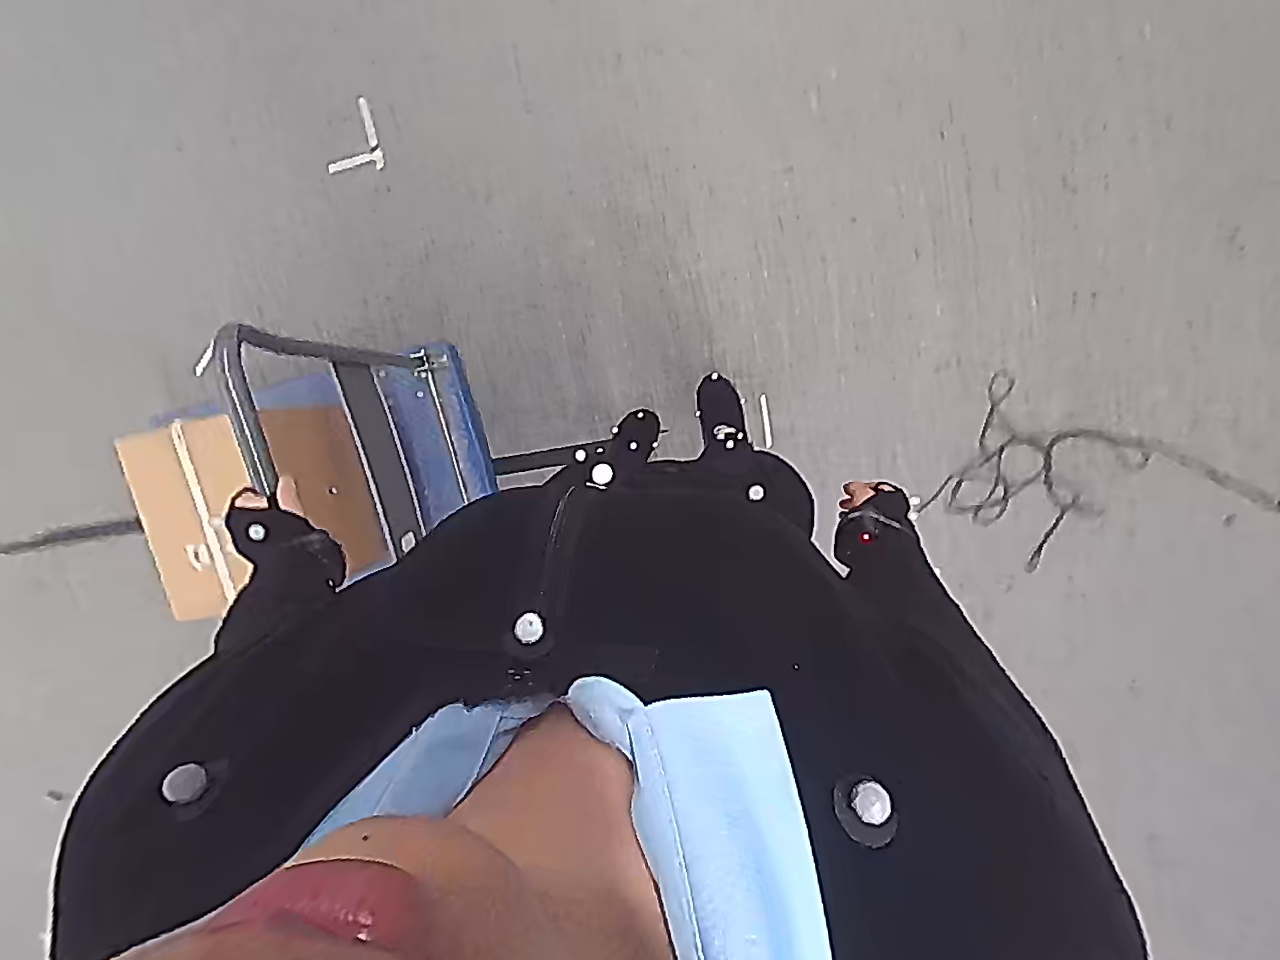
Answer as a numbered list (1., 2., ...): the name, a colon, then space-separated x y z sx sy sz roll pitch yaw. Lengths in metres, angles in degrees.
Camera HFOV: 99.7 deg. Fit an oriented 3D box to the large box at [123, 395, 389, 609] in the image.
1. large box: -0.855 0.032 1.262 0.320 0.320 0.408 -10 99 8
